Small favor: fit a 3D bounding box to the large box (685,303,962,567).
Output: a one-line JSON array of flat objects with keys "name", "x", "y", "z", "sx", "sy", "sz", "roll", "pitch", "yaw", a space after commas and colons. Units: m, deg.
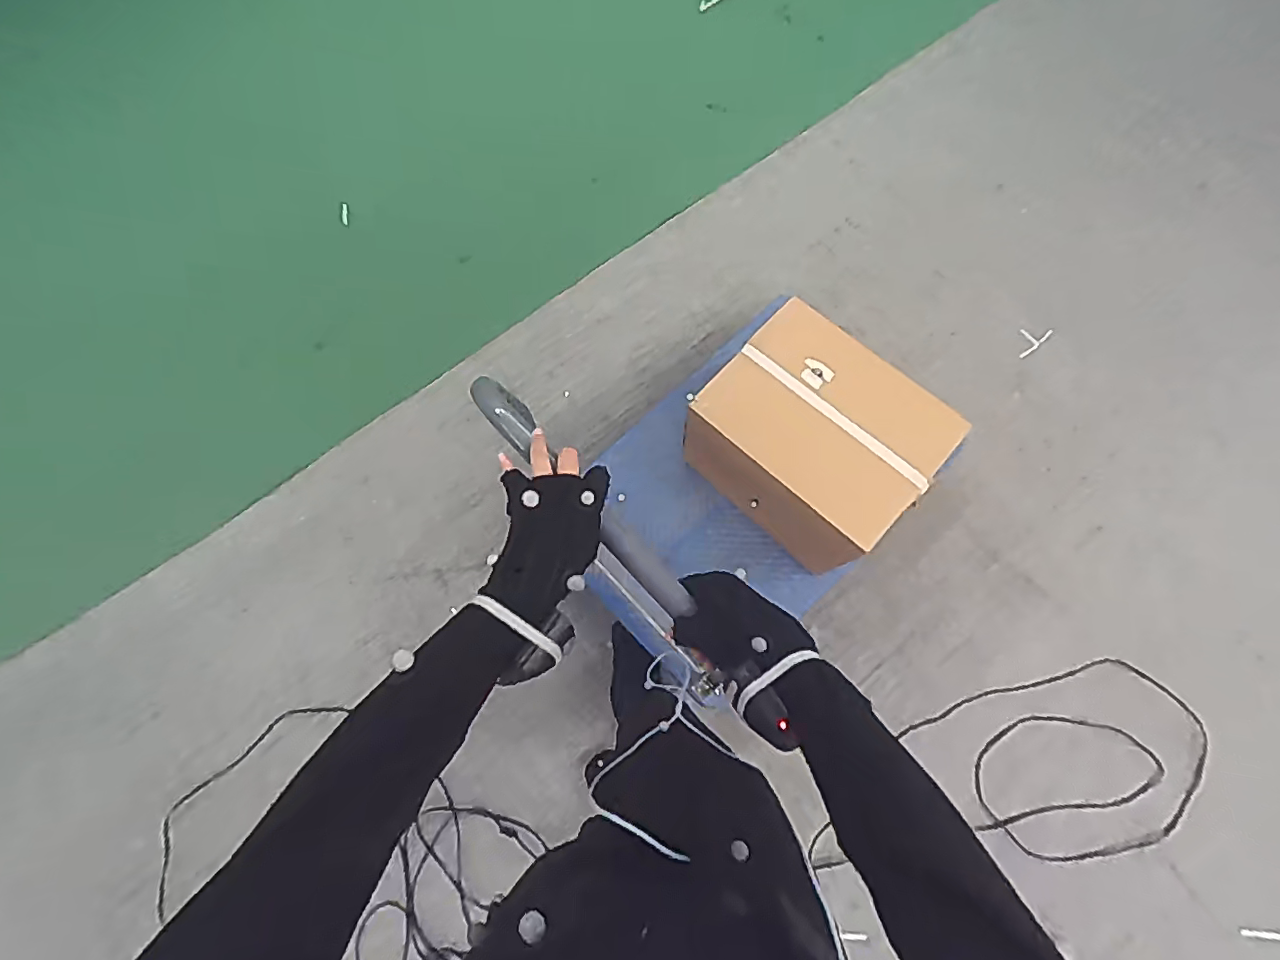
[{"name": "large box", "x": 0.343, "y": -0.074, "z": 1.128, "sx": 0.408, "sy": 0.320, "sz": 0.320, "roll": 41, "pitch": 79, "yaw": 14}]
